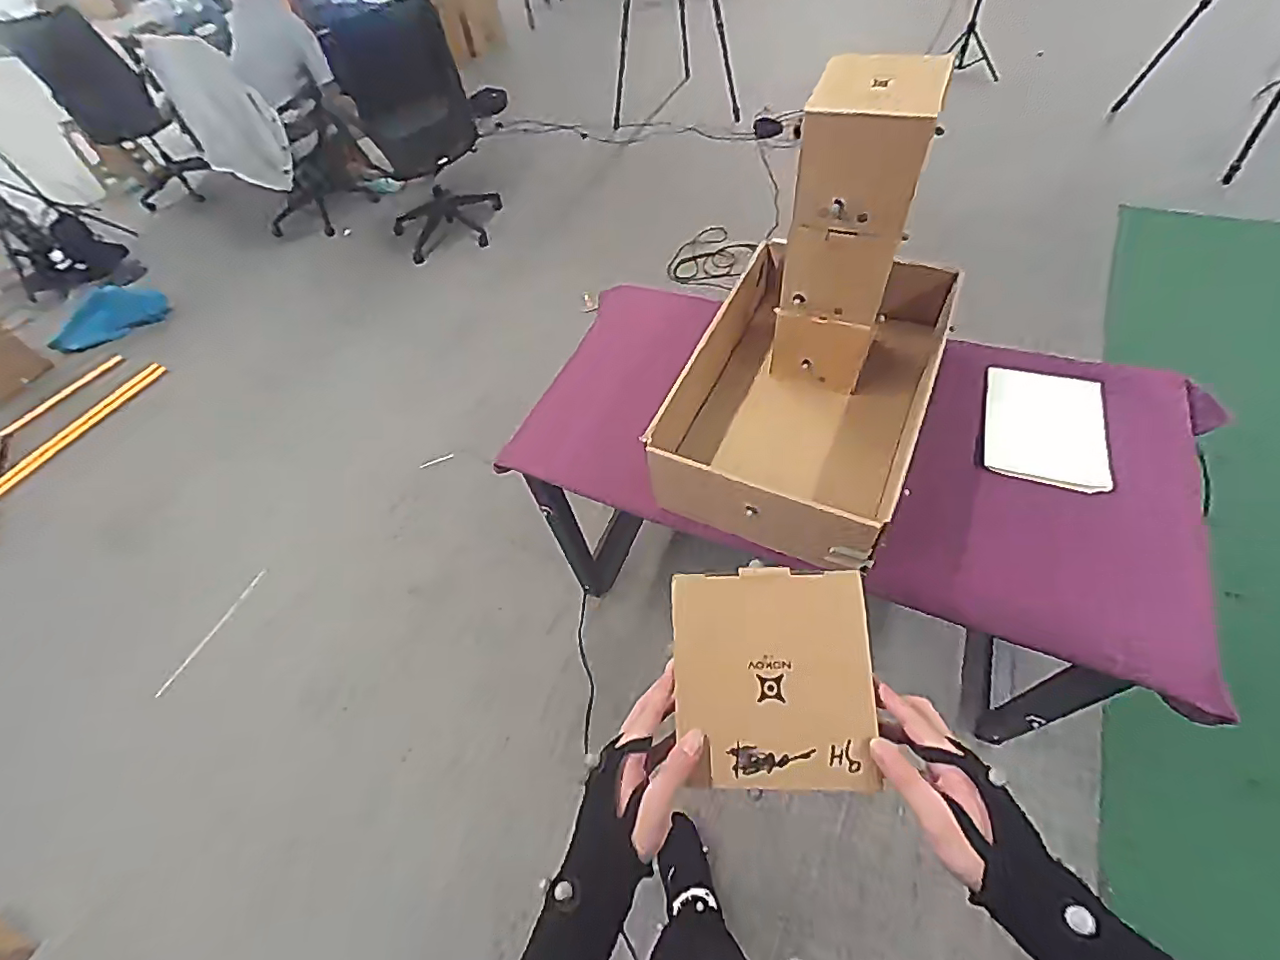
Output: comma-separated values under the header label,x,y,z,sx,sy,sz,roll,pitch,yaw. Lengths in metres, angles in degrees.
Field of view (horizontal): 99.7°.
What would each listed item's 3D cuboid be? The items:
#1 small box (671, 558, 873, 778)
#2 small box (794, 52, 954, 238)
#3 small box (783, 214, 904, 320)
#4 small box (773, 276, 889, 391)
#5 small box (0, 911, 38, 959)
label,x,y,z,sx,sy,sz,roll,pitch,yaw
small box,0.117,0.172,0.537,0.168,0.176,0.179,-2,78,7
small box,0.332,-0.489,0.792,0.168,0.176,0.179,17,62,18
small box,0.351,-0.401,0.928,0.168,0.176,0.179,17,60,18
small box,0.367,-0.306,1.061,0.168,0.176,0.179,17,62,18
small box,-1.635,1.166,1.293,0.179,0.176,0.168,14,58,18
